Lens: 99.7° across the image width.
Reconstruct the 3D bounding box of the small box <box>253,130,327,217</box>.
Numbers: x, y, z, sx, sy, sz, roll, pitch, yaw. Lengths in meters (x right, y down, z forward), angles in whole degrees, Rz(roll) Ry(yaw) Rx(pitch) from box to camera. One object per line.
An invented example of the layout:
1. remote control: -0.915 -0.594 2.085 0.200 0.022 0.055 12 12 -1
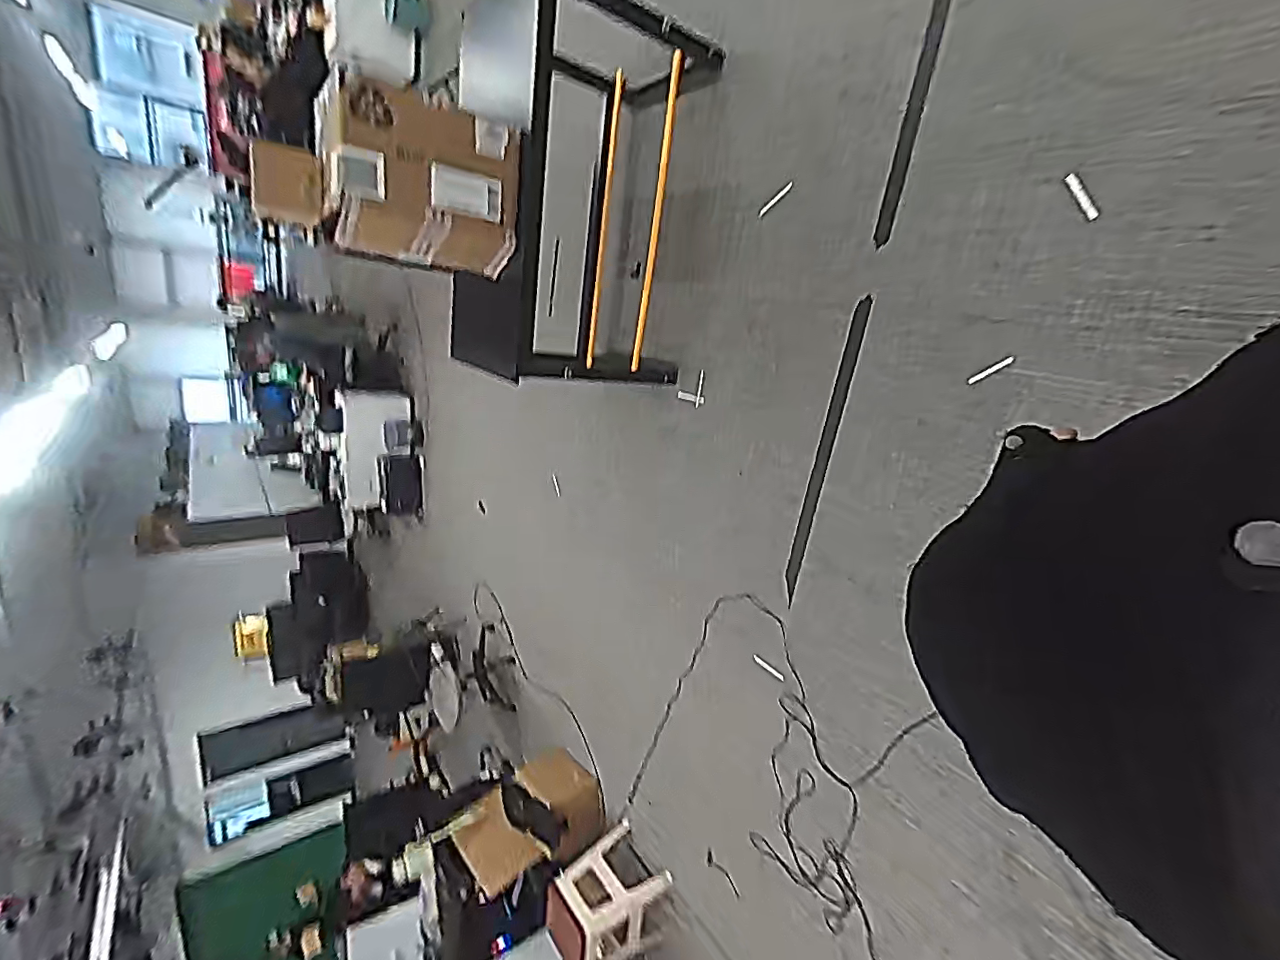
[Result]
1. small box: -1.014 -0.875 1.566 0.179 0.176 0.168 21 110 51
